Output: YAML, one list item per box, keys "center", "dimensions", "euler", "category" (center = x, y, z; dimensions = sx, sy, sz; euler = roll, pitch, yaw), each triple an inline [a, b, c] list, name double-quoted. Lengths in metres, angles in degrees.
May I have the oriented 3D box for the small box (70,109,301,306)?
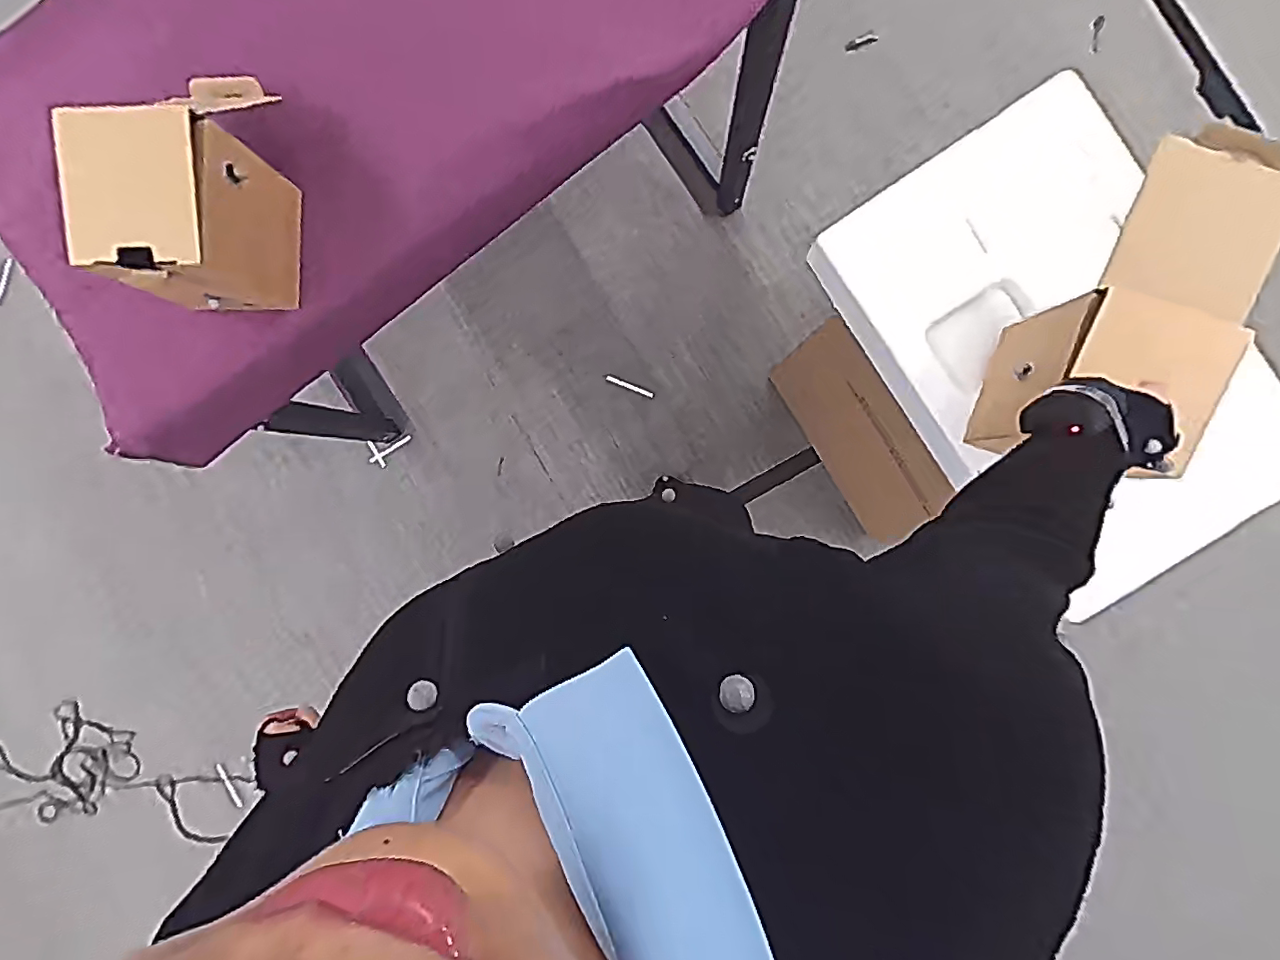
- center: [-0.577, -0.344, 0.709]
  dimensions: [0.168, 0.176, 0.179]
  euler: [2, 90, 4]
  category: "small box"
